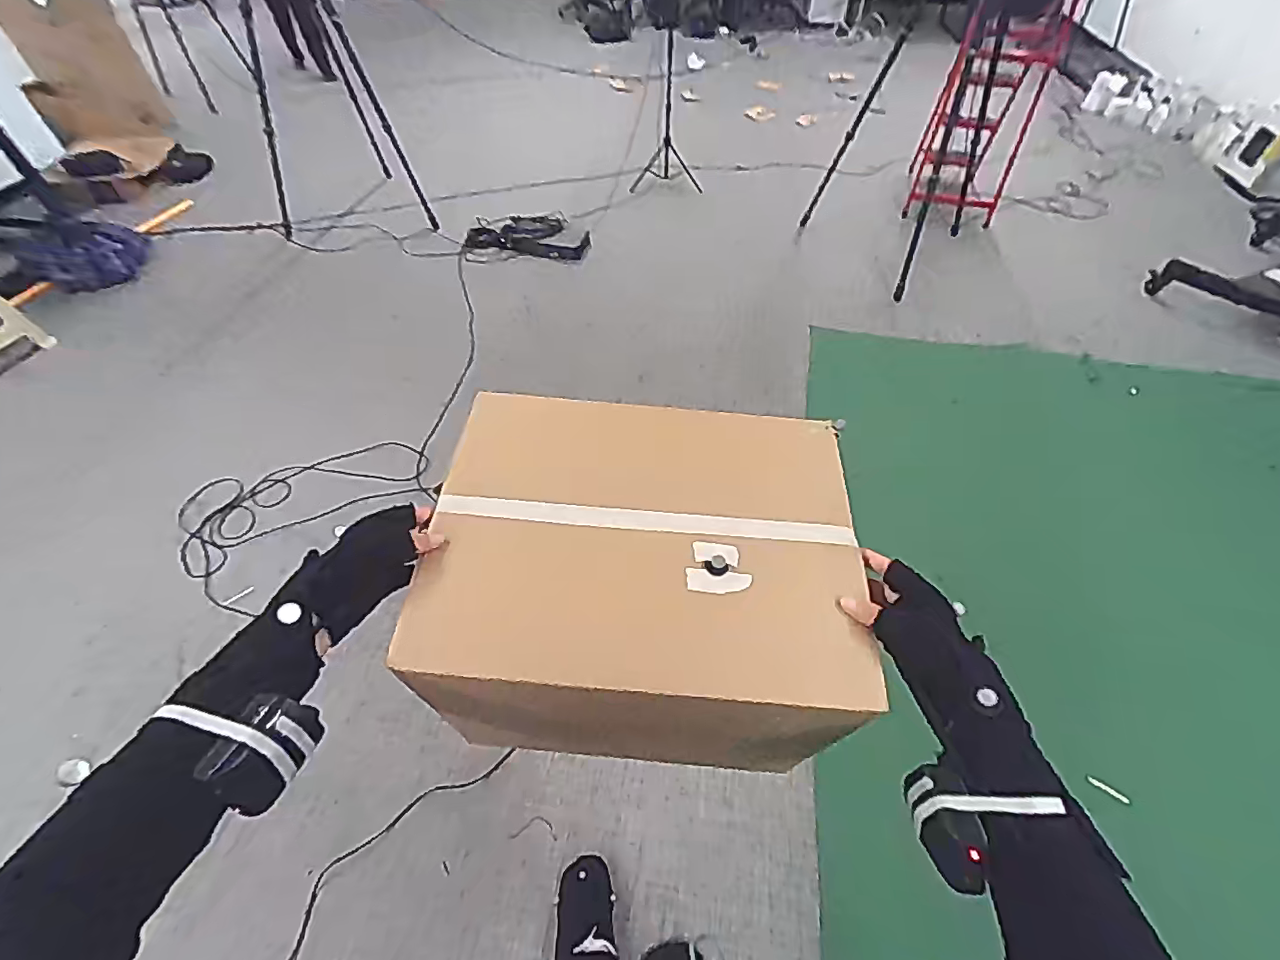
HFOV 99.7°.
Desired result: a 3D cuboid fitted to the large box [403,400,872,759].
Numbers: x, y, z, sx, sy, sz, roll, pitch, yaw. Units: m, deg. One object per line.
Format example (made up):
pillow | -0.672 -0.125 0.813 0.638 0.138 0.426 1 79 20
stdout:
large box | -0.002 0.131 0.656 0.408 0.320 0.320 5 54 0
